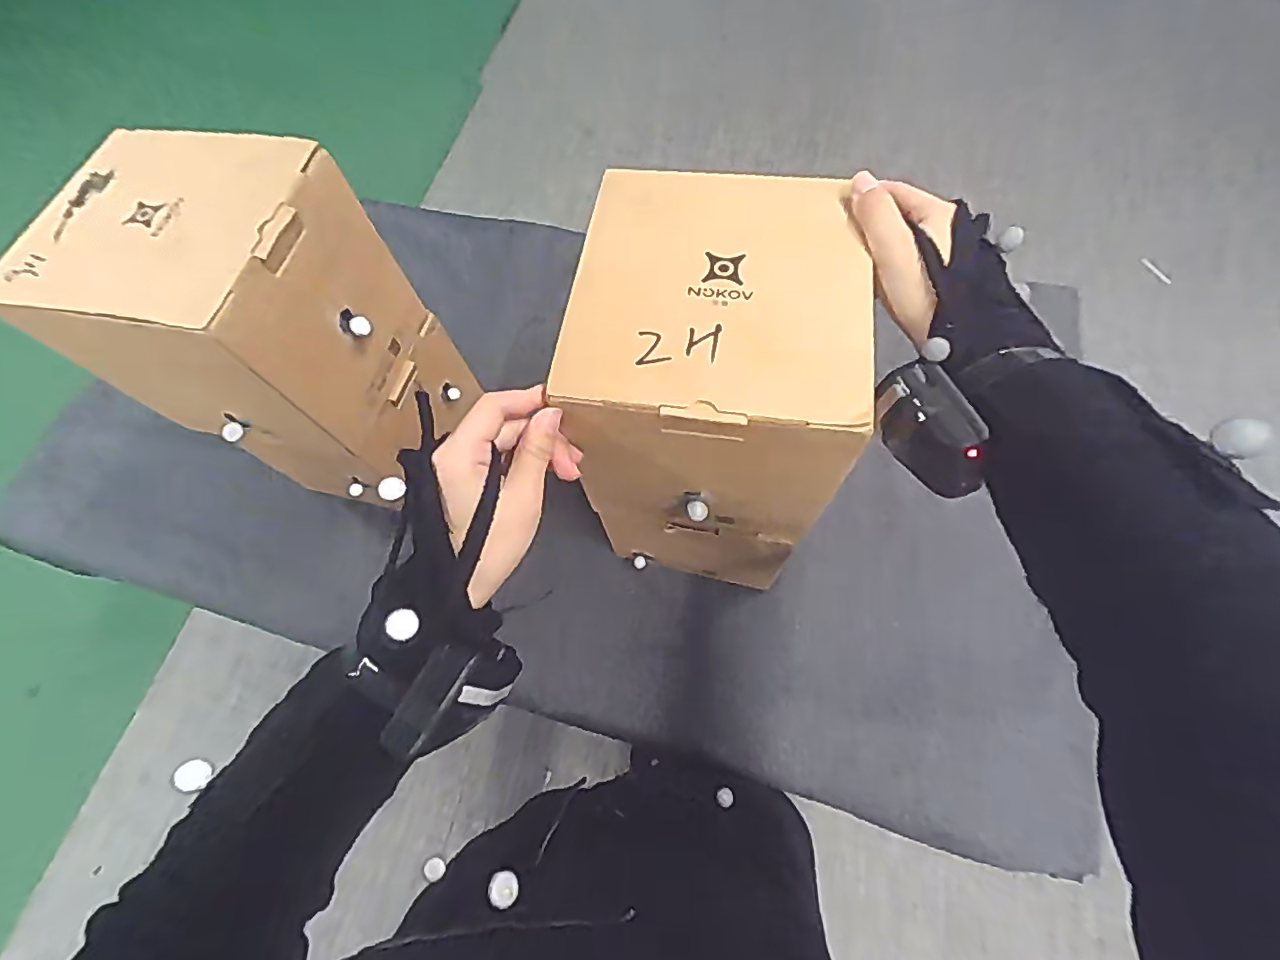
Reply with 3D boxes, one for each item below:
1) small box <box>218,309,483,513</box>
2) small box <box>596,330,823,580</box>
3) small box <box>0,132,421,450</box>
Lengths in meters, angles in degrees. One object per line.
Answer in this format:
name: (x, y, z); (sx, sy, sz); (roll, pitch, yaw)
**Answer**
small box: (-0.296, -0.077, 0.587); (0.179, 0.176, 0.168); (11, 66, 10)
small box: (0.069, -0.015, 0.531); (0.168, 0.176, 0.179); (12, 67, 9)
small box: (-0.309, -0.139, 0.435); (0.179, 0.176, 0.168); (9, 66, 7)
